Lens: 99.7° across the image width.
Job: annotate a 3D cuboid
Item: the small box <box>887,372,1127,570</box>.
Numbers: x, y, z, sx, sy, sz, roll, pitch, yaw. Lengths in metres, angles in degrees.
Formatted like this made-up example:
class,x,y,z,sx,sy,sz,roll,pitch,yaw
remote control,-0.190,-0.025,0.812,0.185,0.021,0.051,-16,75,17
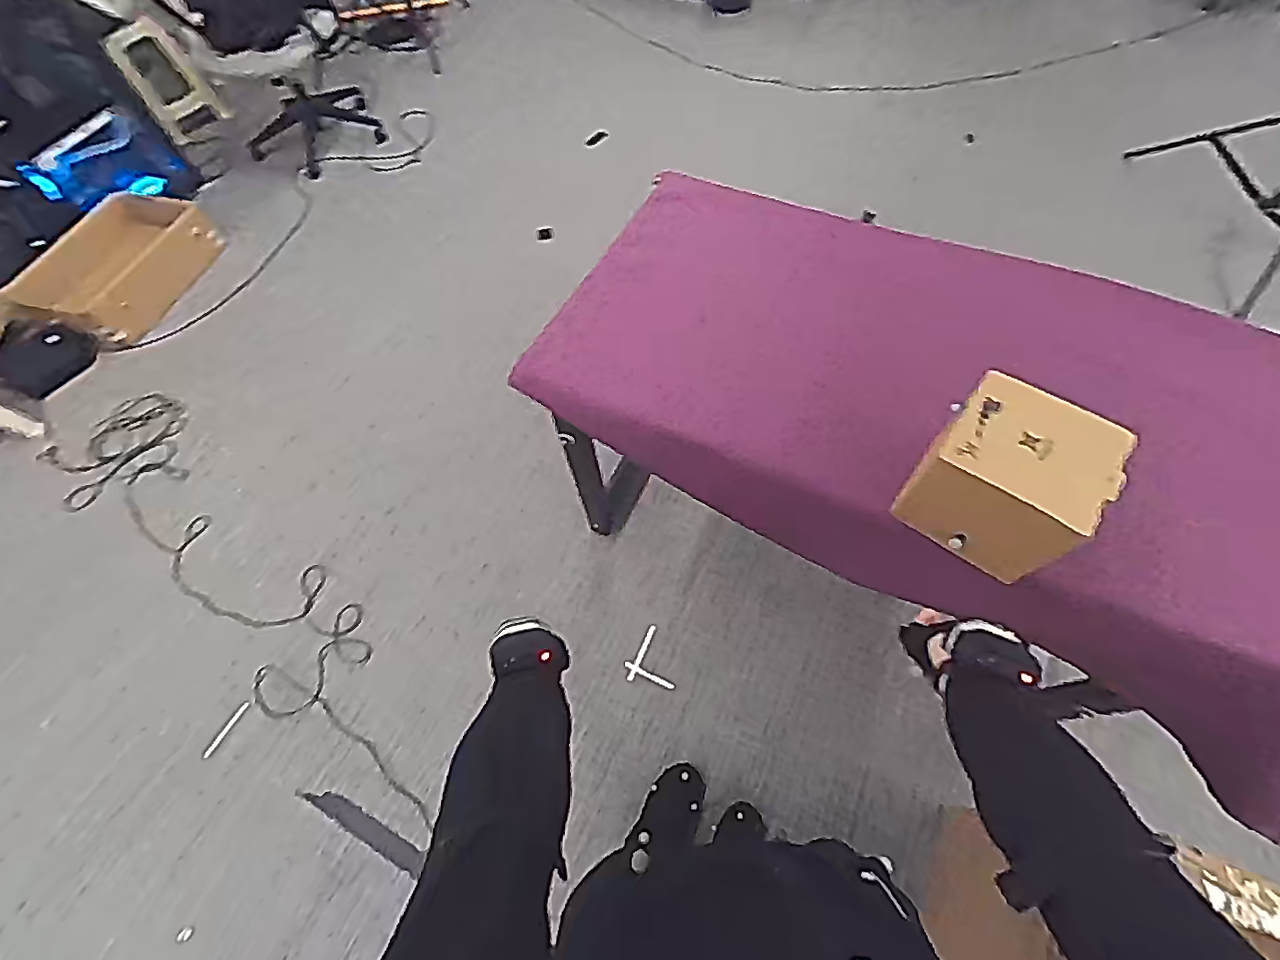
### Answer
class,x,y,z,sx,sy,sz,roll,pitch,yaw
small box,0.468,-0.002,0.716,0.179,0.176,0.168,34,68,19
